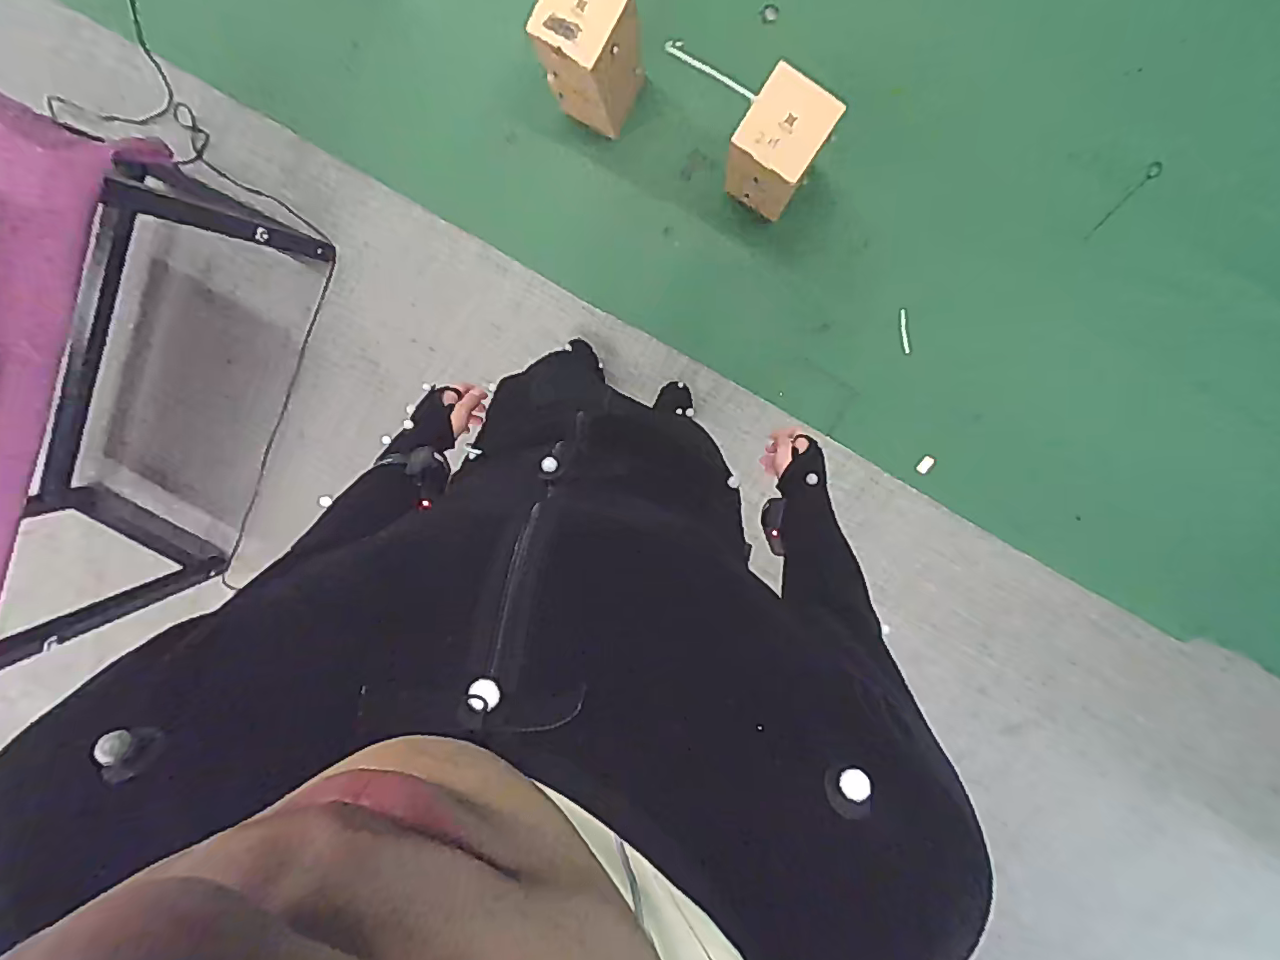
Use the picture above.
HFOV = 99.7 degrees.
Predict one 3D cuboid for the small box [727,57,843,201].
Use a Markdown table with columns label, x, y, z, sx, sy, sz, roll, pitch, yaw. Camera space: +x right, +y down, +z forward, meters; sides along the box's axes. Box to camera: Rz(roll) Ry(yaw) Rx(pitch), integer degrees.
| label | x | y | z | sx | sy | sz | roll | pitch | yaw |
| --- | --- | --- | --- | --- | --- | --- | --- | --- | --- |
| small box | 0.302 | -0.749 | 1.178 | 0.168 | 0.176 | 0.179 | 35 | 104 | -2 |

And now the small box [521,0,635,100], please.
| label | x | y | z | sx | sy | sz | roll | pitch | yaw |
| --- | --- | --- | --- | --- | --- | --- | --- | --- | --- |
| small box | -0.125 | -0.982 | 1.175 | 0.168 | 0.176 | 0.179 | 33 | 102 | -1 |

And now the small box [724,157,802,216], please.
| label | x | y | z | sx | sy | sz | roll | pitch | yaw |
| --- | --- | --- | --- | --- | --- | --- | --- | --- | --- |
| small box | 0.319 | -0.792 | 1.337 | 0.168 | 0.176 | 0.179 | 33 | 105 | -2 |
